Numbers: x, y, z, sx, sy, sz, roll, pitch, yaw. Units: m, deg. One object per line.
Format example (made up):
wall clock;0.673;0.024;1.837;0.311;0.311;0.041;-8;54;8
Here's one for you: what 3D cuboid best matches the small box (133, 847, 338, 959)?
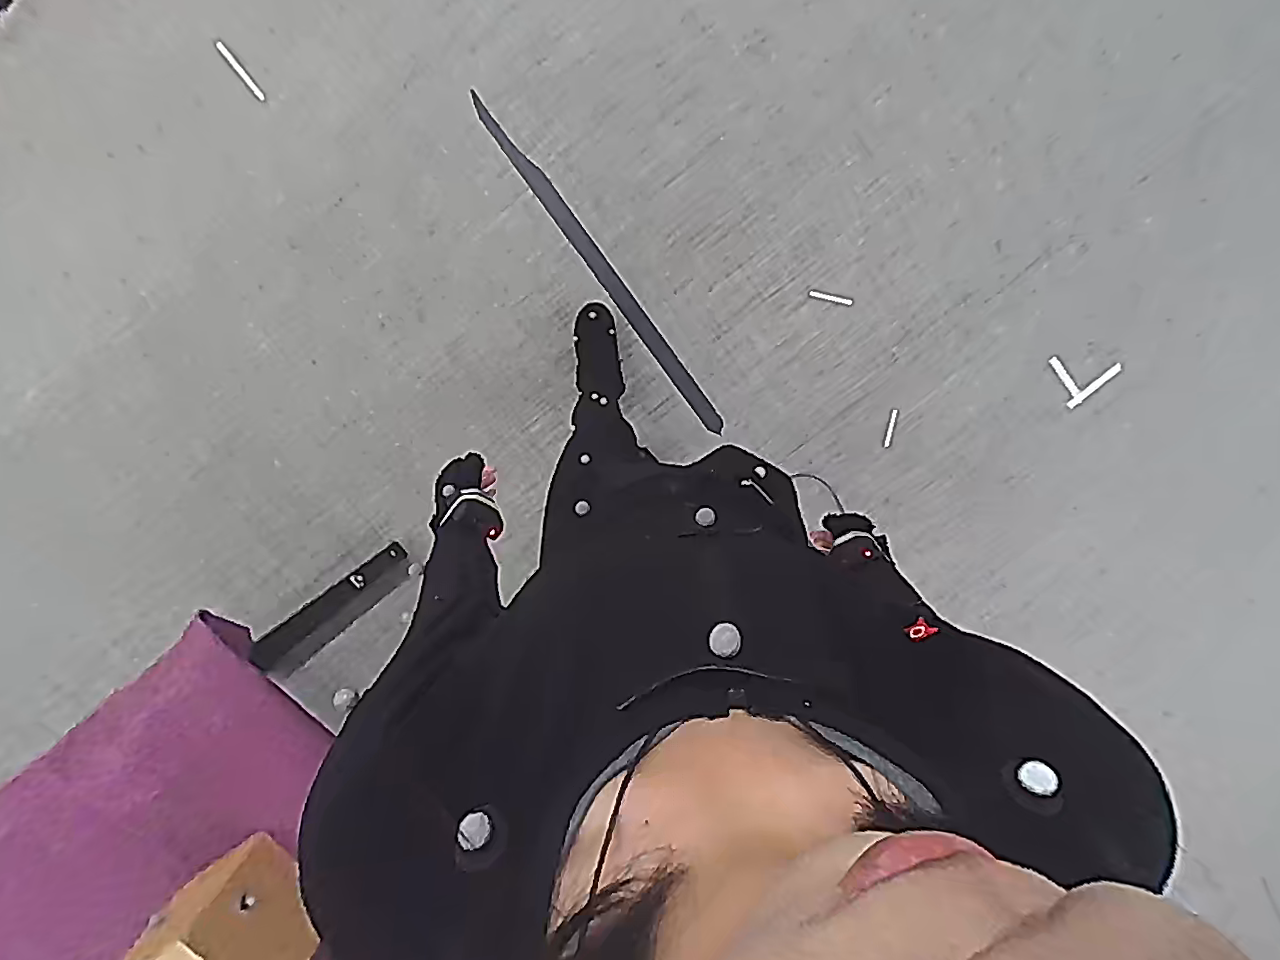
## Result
small box;-0.581;0.667;0.766;0.168;0.176;0.179;-35;101;6
